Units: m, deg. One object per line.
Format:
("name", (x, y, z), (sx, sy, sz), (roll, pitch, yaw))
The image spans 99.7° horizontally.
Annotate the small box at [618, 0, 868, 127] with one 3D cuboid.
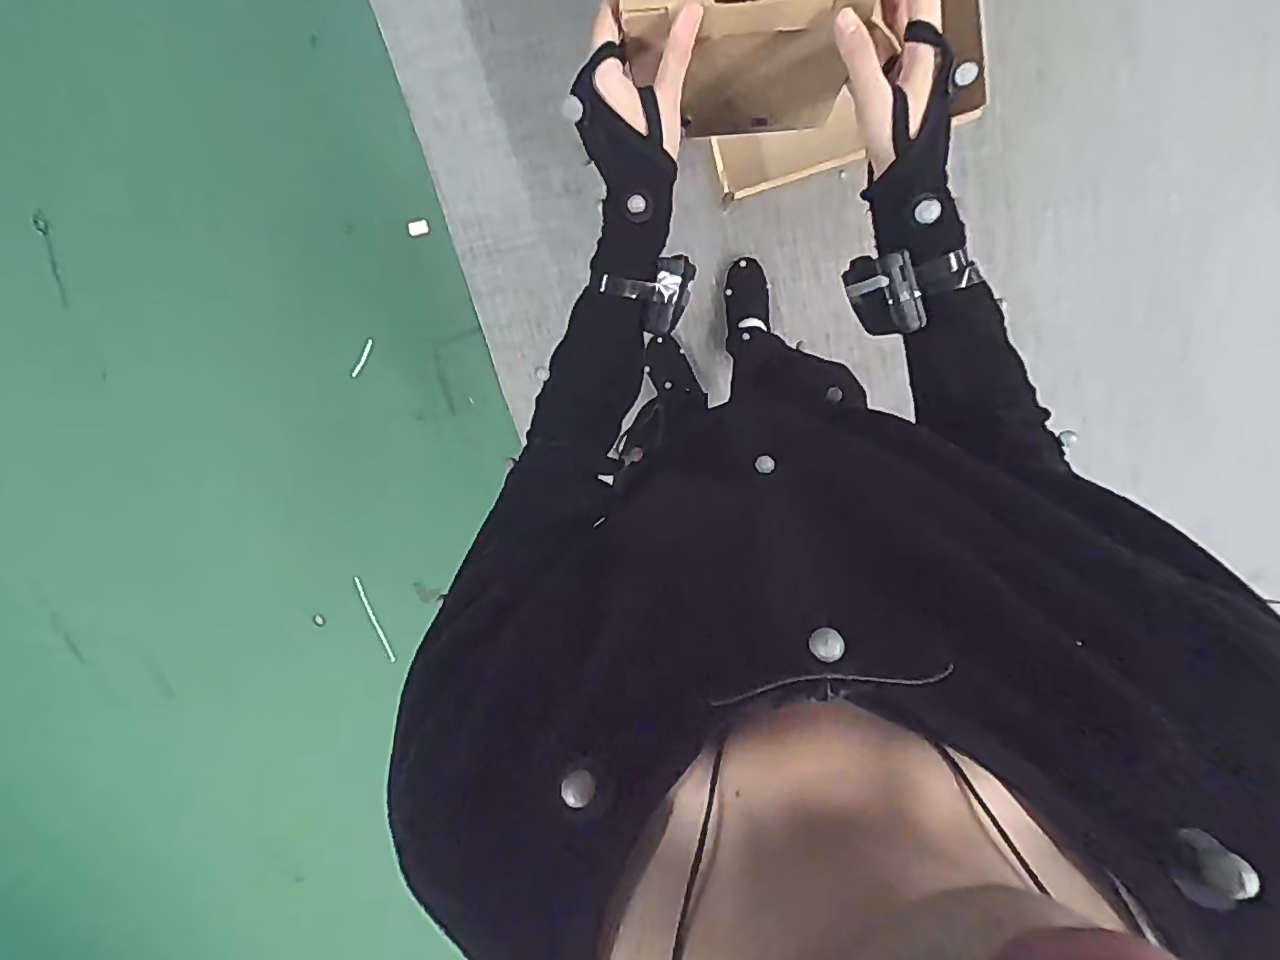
("small box", (0.076, -0.392, 0.404), (0.168, 0.176, 0.179), (0, 97, 6))
